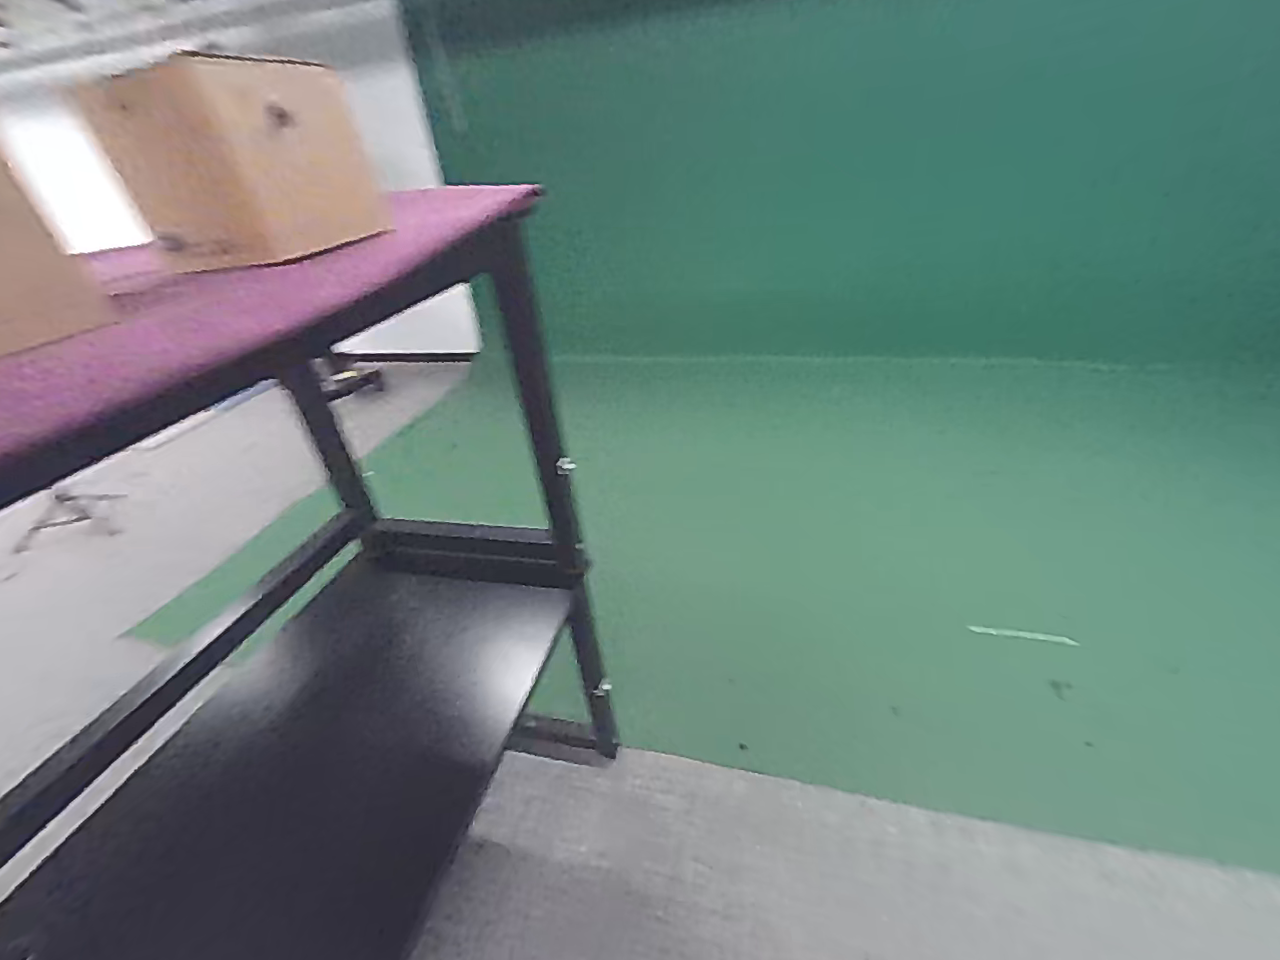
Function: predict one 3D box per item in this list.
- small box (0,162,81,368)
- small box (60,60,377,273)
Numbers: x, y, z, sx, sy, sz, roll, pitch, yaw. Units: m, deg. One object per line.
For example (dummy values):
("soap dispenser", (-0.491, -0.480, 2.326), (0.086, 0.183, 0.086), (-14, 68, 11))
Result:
("small box", (-0.483, -0.131, 0.298), (0.168, 0.176, 0.179), (2, 35, 14))
("small box", (-0.423, -0.326, 0.581), (0.168, 0.176, 0.179), (2, 34, 17))
